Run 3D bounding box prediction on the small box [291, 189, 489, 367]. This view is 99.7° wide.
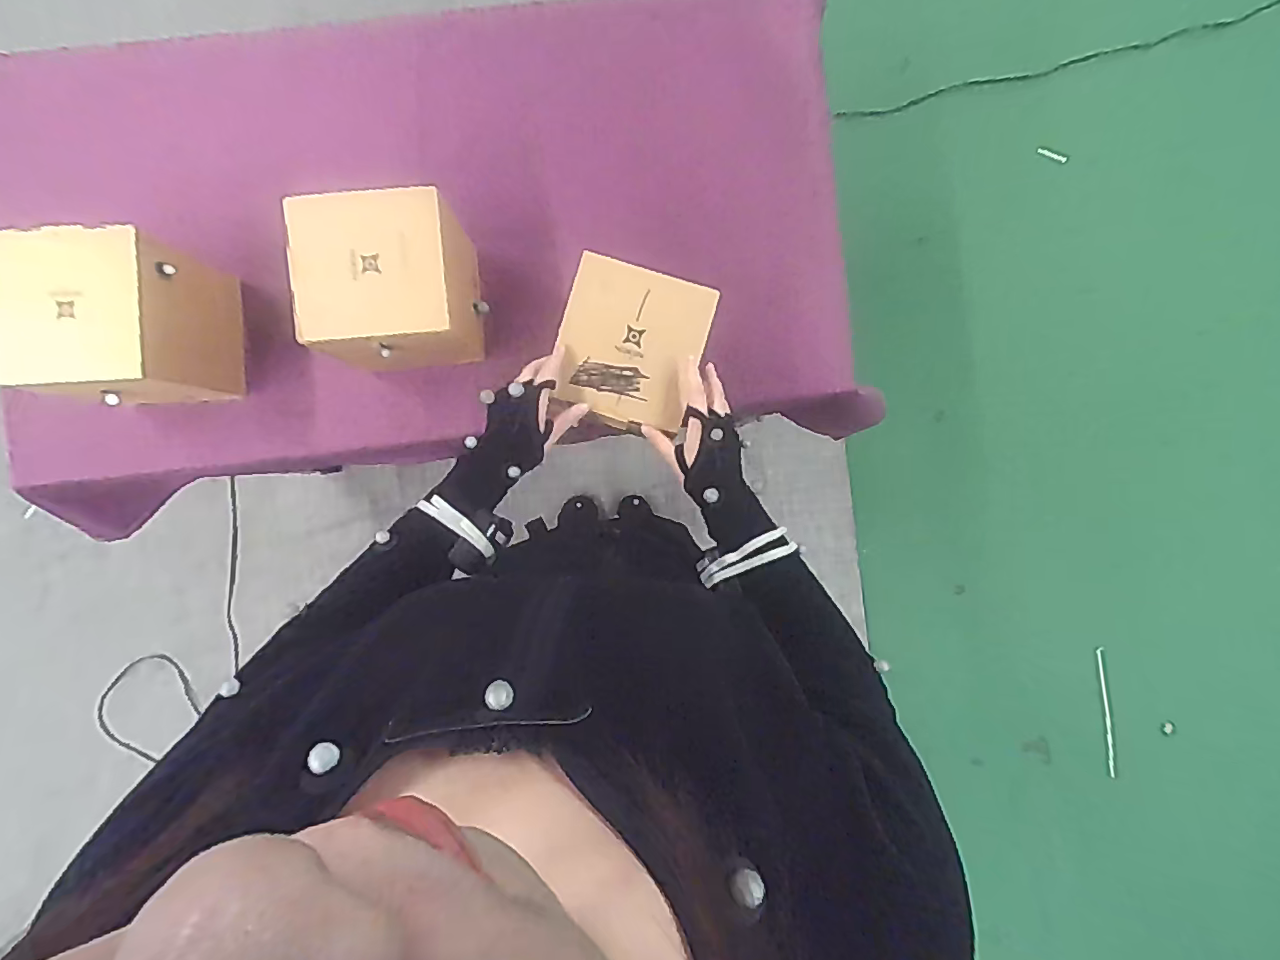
[{"bbox_3d":[-0.307,-0.245,0.694,0.179,0.176,0.168,-4,91,-1],"label":"small box"}]

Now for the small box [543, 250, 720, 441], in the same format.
[{"bbox_3d":[-0.010,-0.156,0.695,0.168,0.176,0.179,17,89,-1],"label":"small box"}]

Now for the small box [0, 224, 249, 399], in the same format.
[{"bbox_3d":[-0.638,-0.200,0.690,0.168,0.176,0.179,-3,89,-1],"label":"small box"}]
